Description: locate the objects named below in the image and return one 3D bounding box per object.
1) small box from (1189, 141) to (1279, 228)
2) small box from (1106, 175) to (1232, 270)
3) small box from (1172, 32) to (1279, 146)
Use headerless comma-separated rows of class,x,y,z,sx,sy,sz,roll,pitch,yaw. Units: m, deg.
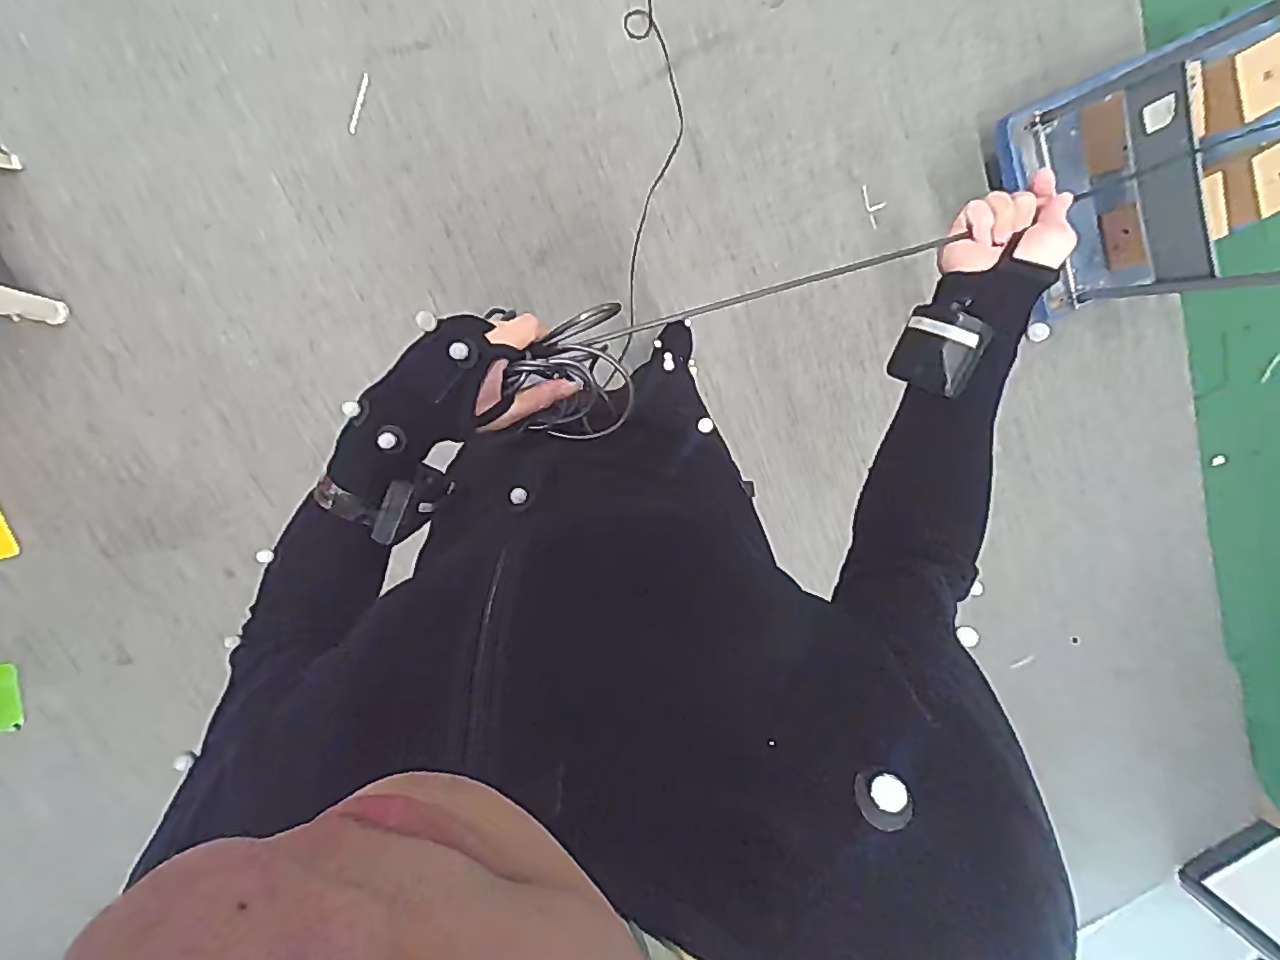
small box,1.673,-0.806,1.481,0.179,0.176,0.168,-29,104,-1
small box,1.430,-0.691,1.467,0.179,0.176,0.168,-24,104,-3
small box,1.556,-1.020,1.419,0.179,0.176,0.168,-29,105,-2
